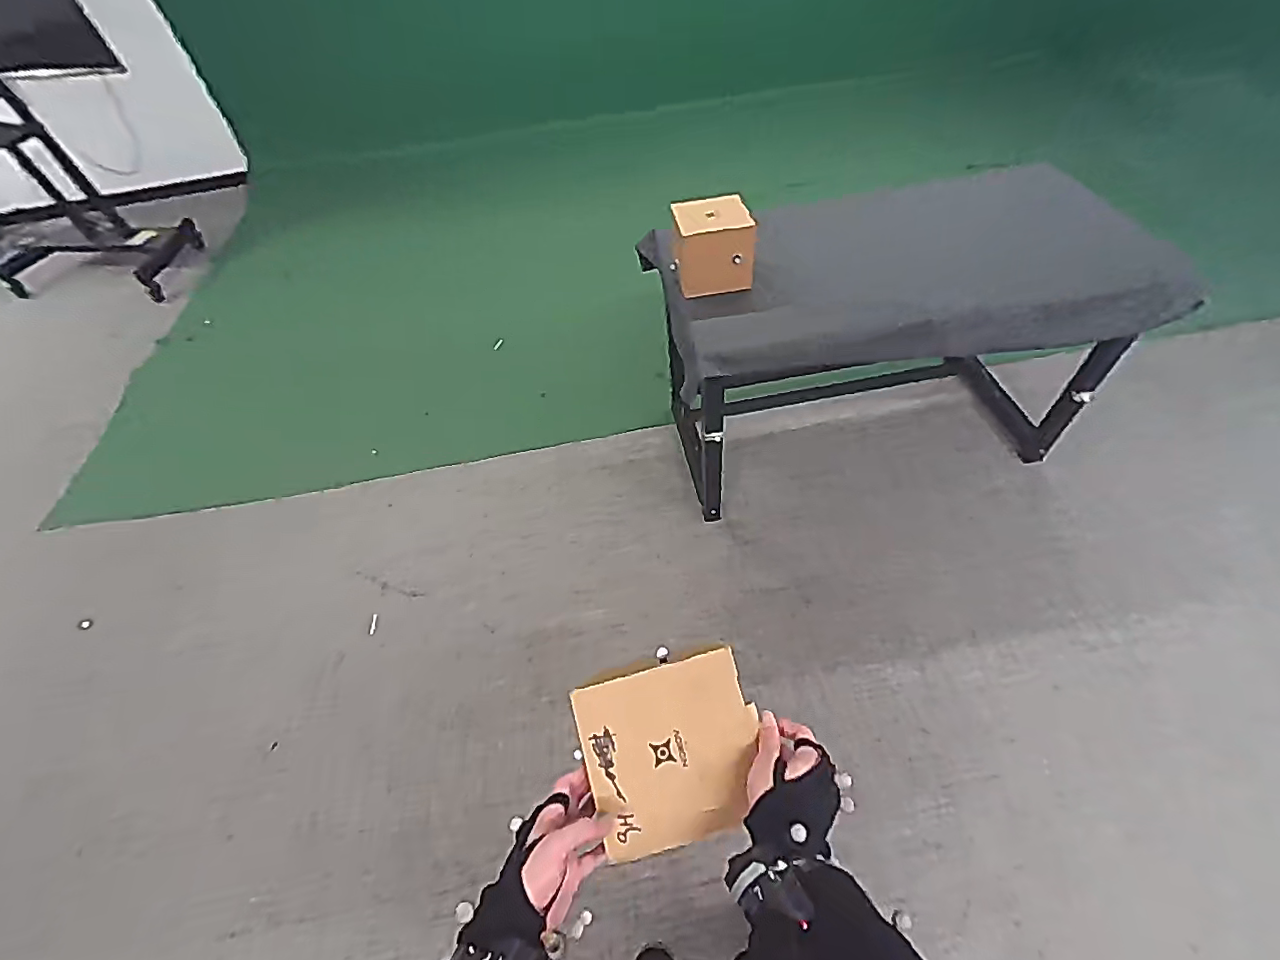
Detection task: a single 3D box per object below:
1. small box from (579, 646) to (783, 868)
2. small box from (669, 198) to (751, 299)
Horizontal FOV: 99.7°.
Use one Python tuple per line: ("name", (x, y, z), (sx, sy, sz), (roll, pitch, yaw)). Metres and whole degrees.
("small box", (0.040, 0.298, 0.625), (0.179, 0.176, 0.168), (-15, 77, -2))
("small box", (0.170, -0.580, 1.360), (0.179, 0.176, 0.168), (-8, 50, 0))
